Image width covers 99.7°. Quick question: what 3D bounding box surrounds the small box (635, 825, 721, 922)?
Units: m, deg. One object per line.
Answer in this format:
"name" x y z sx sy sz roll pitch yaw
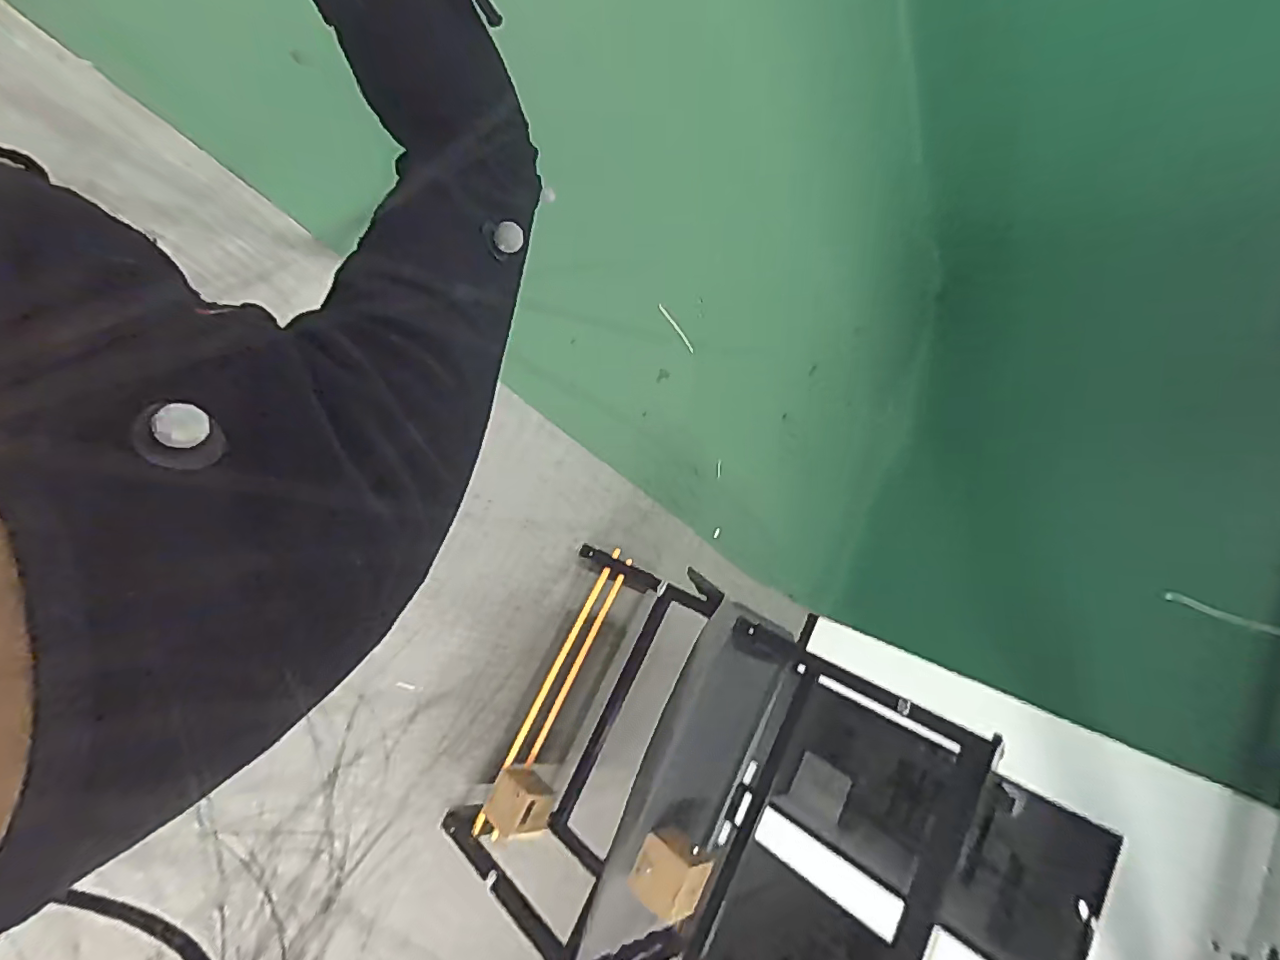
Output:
"small box" 0.116 1.191 1.656 0.179 0.176 0.168 36 75 -50
